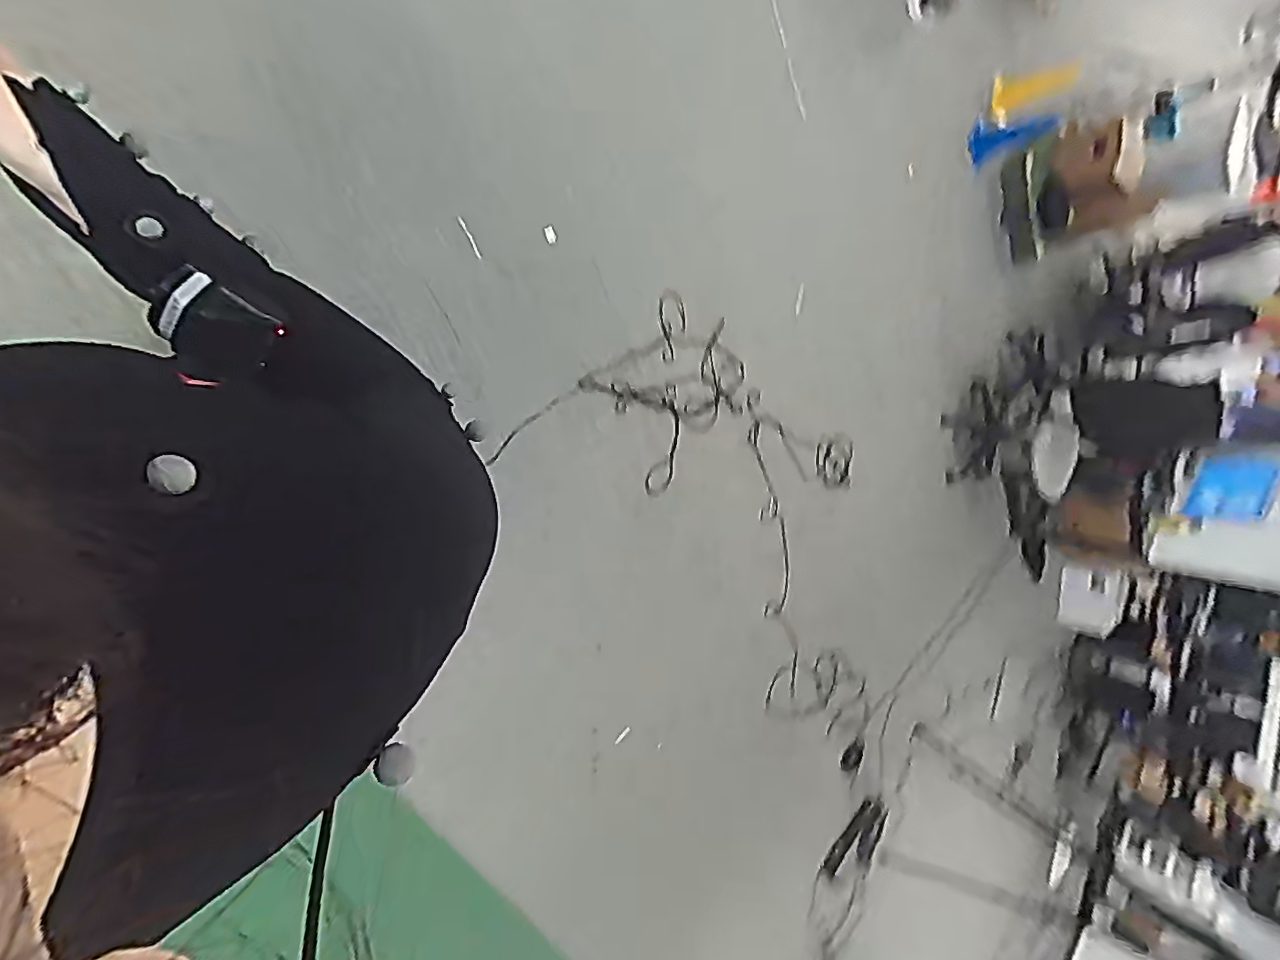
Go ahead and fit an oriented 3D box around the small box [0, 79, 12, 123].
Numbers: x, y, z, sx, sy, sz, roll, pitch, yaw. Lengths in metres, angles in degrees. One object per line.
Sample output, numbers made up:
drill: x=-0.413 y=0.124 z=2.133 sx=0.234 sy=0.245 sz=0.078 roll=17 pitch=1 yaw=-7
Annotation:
small box: x=-0.476 y=-0.276 z=0.259 sx=0.168 sy=0.176 sz=0.179 roll=-27 pitch=125 yaw=-29
